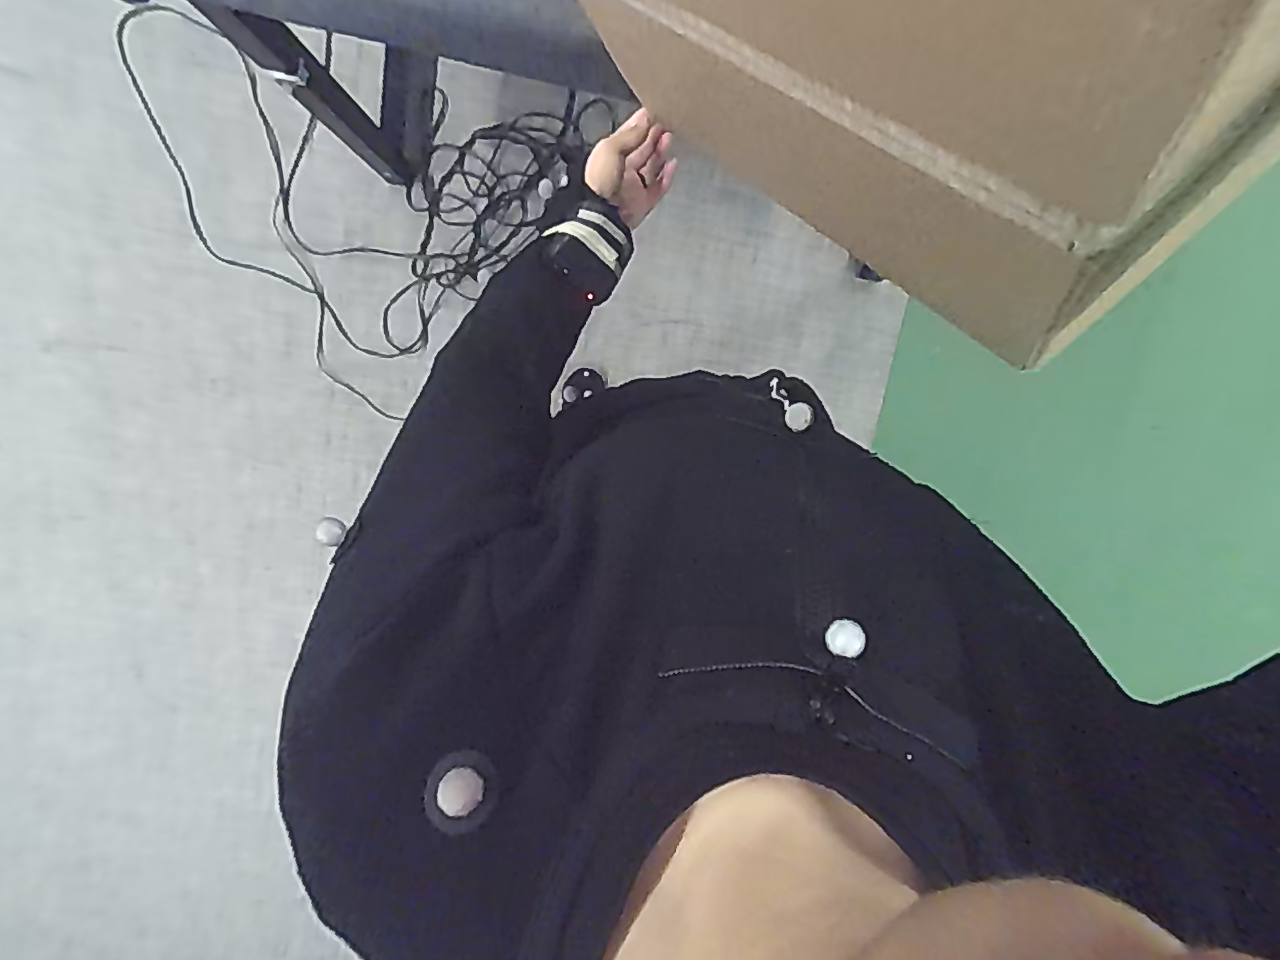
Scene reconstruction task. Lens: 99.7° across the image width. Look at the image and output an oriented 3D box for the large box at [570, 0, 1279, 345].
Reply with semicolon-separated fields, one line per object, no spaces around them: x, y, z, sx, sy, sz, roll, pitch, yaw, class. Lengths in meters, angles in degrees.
0.157;-0.337;0.256;0.320;0.320;0.408;-48;65;12;large box
